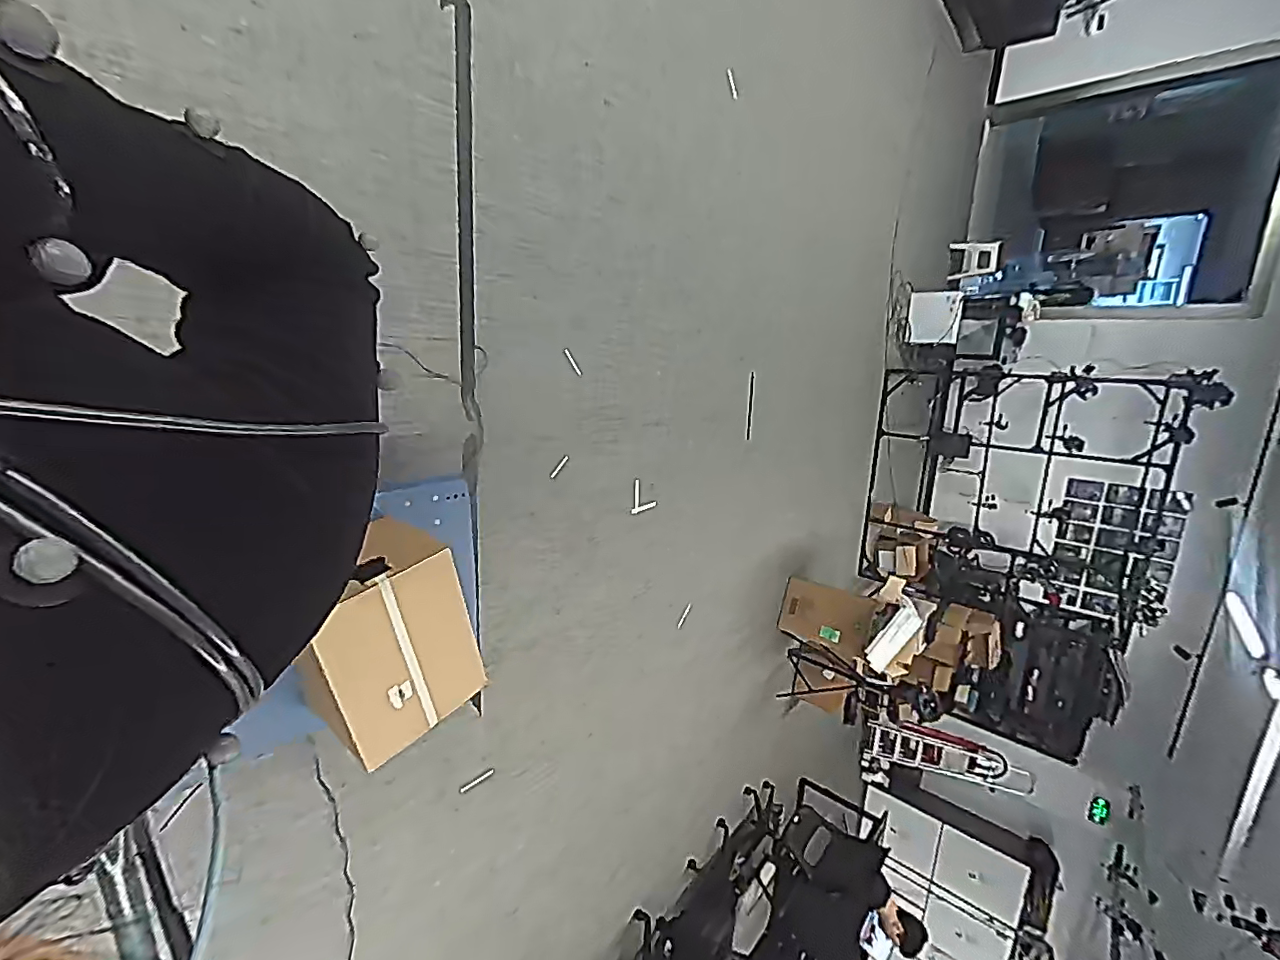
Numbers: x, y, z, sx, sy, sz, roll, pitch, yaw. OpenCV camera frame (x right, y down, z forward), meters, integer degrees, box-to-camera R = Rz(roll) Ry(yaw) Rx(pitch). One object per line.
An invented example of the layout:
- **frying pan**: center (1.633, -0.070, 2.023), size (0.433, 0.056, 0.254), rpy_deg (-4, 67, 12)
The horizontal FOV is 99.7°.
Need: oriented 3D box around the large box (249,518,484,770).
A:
- **large box**: center (-0.621, 0.355, 1.259), size (0.320, 0.320, 0.408), rpy_deg (-29, 122, -42)
